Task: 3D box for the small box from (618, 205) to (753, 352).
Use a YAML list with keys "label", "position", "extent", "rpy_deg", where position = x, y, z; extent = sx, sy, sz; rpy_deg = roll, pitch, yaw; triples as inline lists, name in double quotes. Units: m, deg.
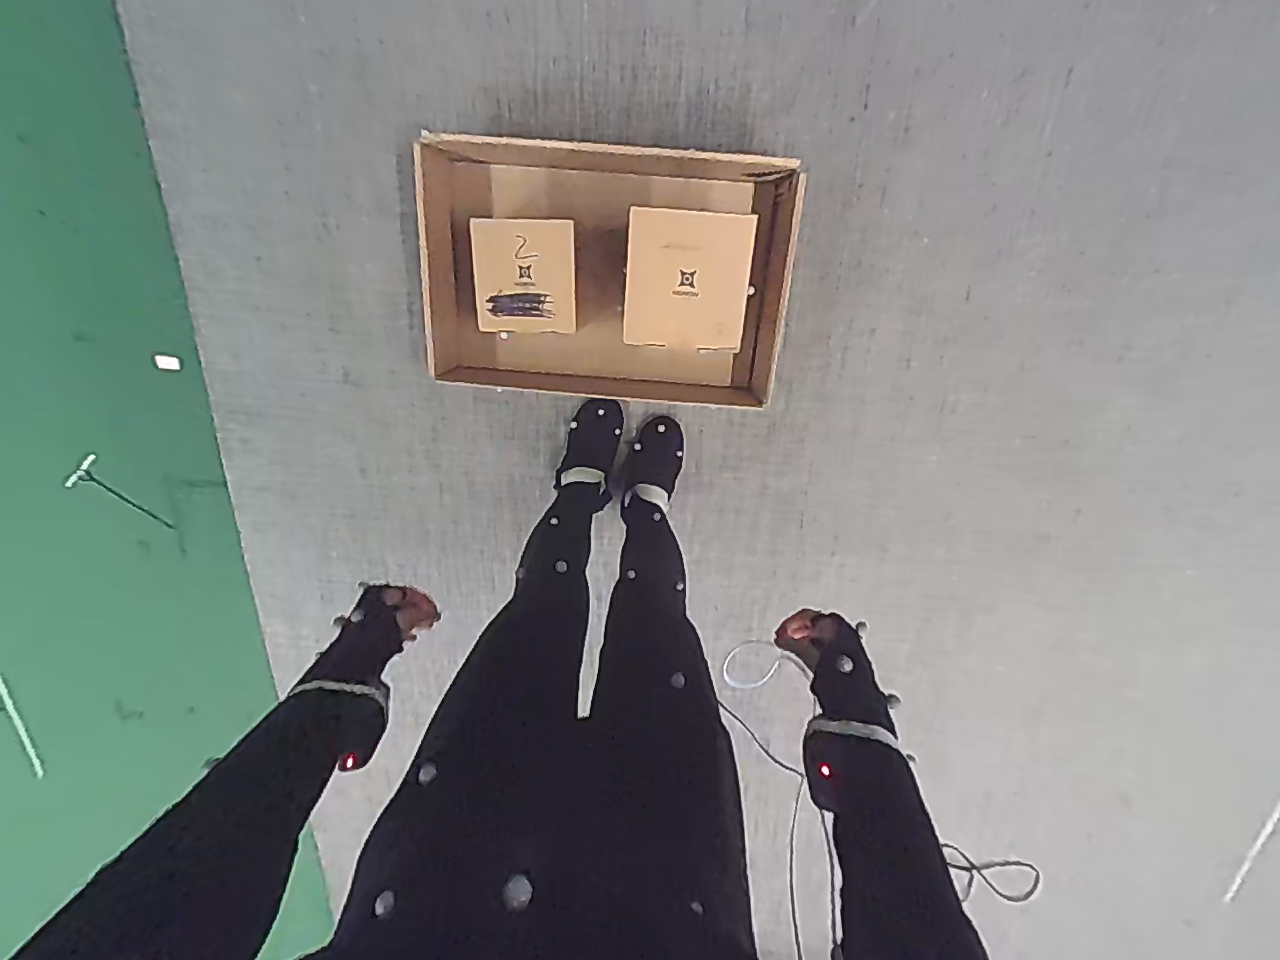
- label: "small box"
  position: [0.062, -0.295, 0.802]
  extent: [0.168, 0.176, 0.179]
  rpy_deg: [5, 110, 0]
